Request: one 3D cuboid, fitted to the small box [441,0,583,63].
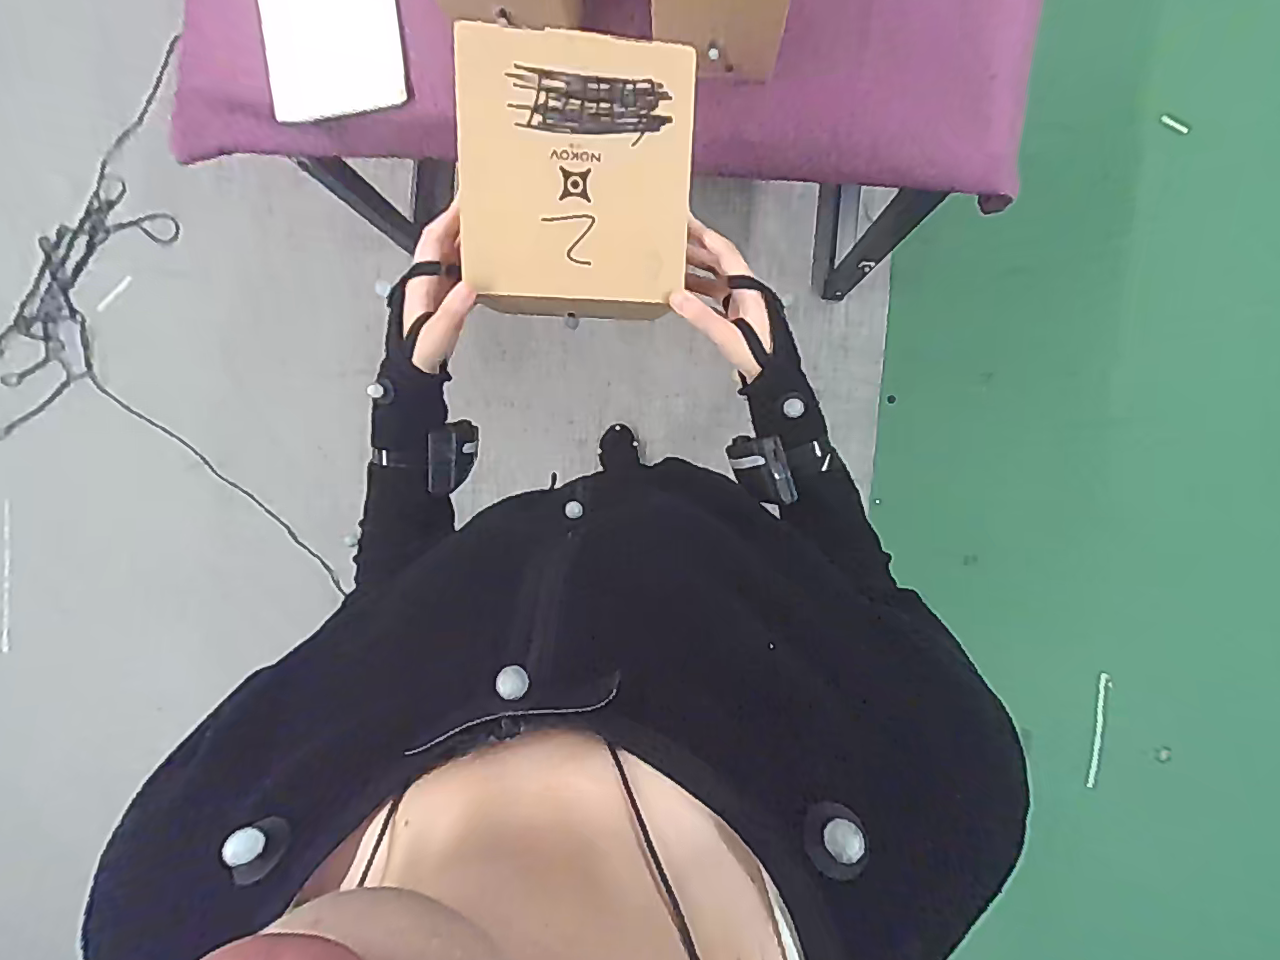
[{"bbox_3d":[-0.165,-0.684,0.696,0.168,0.176,0.179,6,92,2],"label":"small box"}]

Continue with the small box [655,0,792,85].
[{"bbox_3d":[0.108,-0.649,0.680,0.168,0.176,0.179,7,91,4],"label":"small box"}]
